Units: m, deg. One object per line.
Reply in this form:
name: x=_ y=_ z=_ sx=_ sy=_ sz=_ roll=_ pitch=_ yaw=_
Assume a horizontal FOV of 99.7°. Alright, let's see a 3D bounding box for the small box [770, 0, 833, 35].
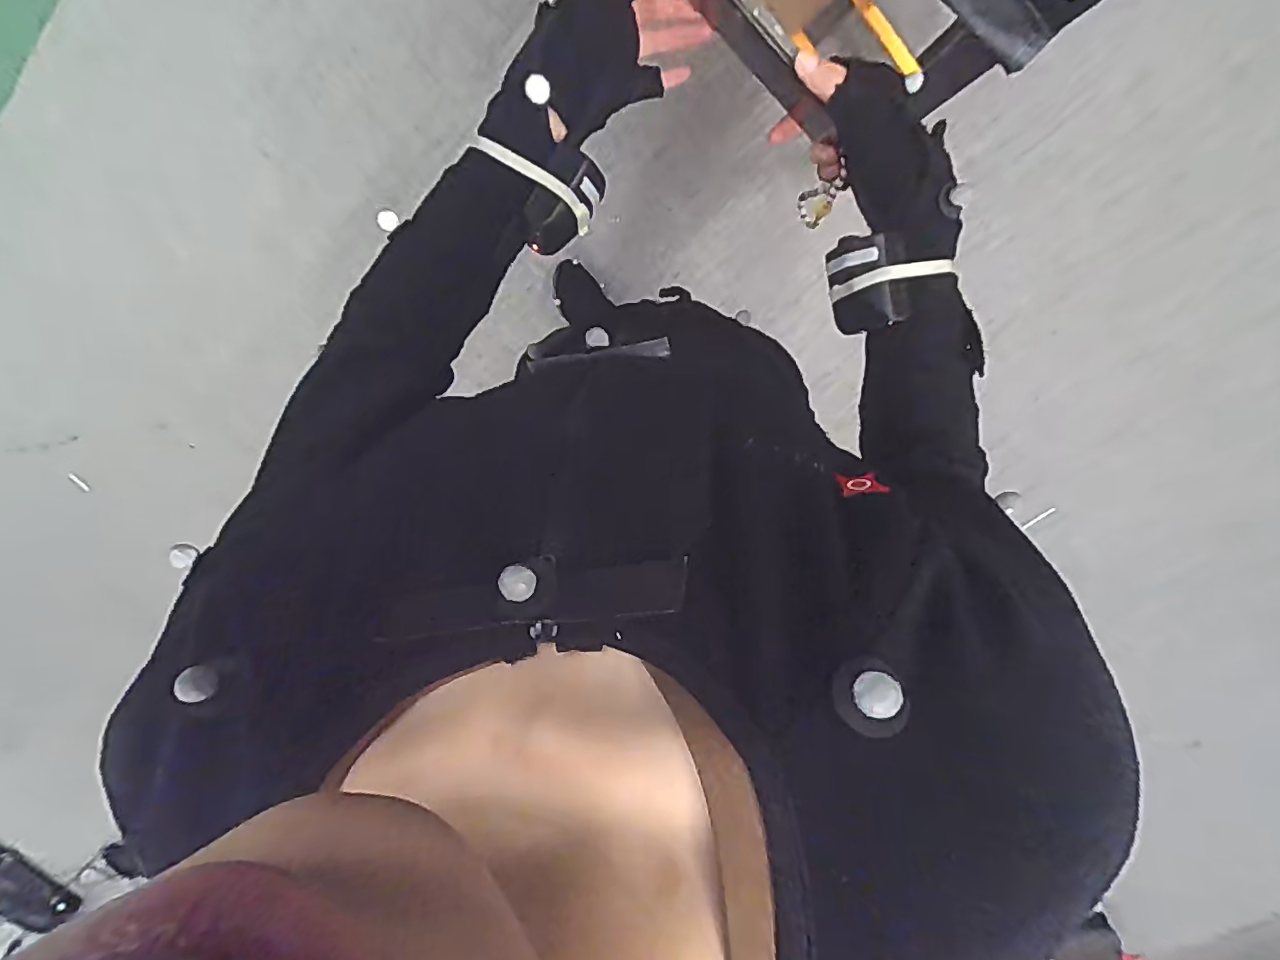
small box: x=0.305 y=-0.948 z=0.949 sx=0.179 sy=0.176 sz=0.168 roll=-37 pitch=102 yaw=16
